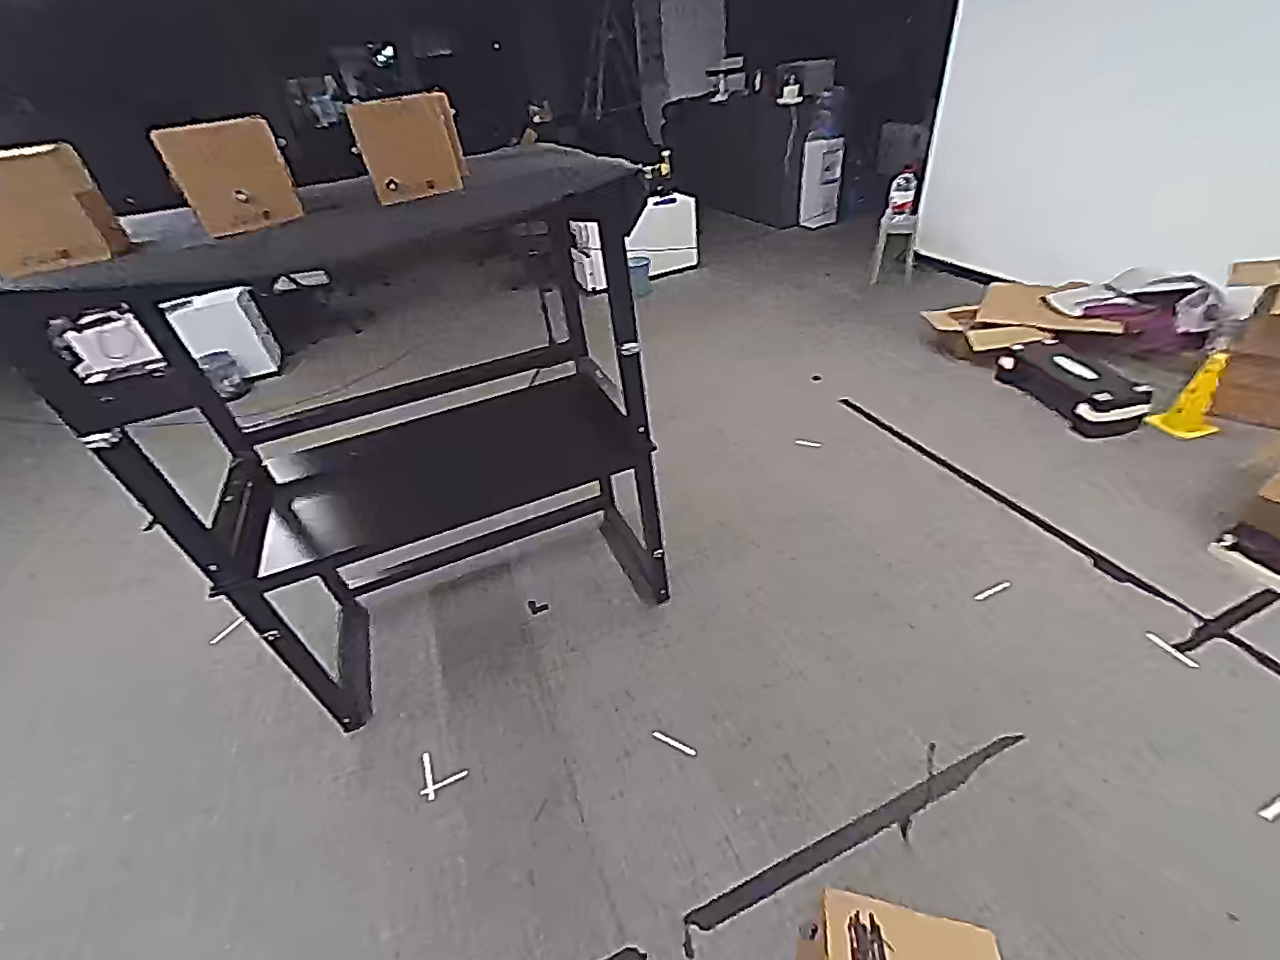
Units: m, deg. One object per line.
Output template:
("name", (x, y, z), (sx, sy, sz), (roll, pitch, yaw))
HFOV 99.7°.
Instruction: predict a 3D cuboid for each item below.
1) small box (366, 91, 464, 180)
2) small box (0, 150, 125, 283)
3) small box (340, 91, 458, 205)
("small box", (-0.529, -0.803, 1.275), (0.168, 0.176, 0.179), (-20, 41, -14))
("small box", (-1.041, -0.452, 0.924), (0.168, 0.176, 0.179), (-24, 41, -20))
("small box", (-0.483, -0.669, 1.093), (0.168, 0.176, 0.179), (-21, 38, -15))
